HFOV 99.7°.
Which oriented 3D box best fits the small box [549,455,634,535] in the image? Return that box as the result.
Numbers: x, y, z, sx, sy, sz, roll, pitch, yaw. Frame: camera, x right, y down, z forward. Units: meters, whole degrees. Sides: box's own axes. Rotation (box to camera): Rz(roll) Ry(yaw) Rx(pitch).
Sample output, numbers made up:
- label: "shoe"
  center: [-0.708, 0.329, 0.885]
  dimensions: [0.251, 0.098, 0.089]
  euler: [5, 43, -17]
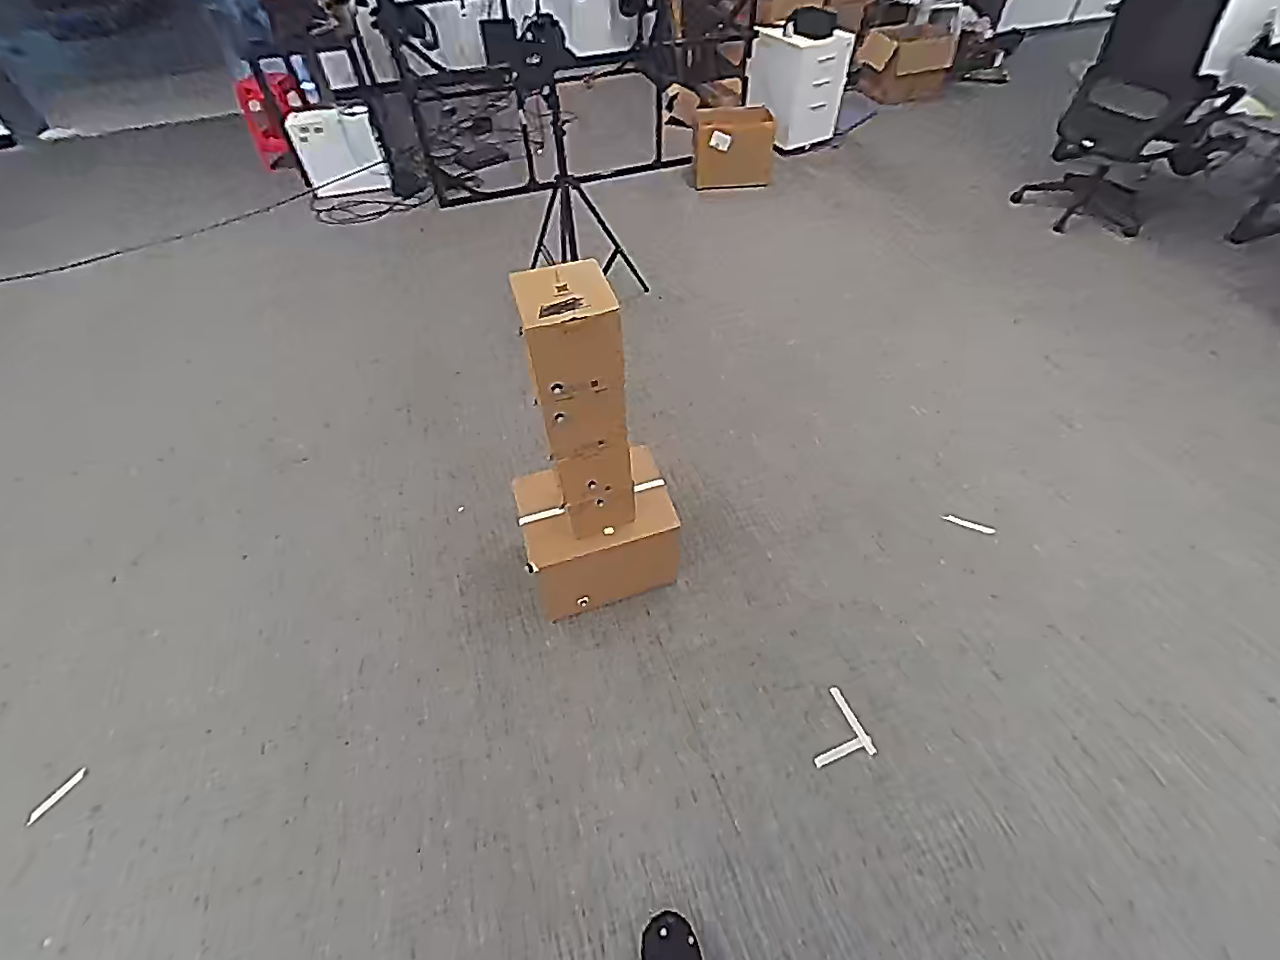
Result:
- label: "small box"
  center: [-0.120, 0.018, 1.397]
  dimensions: [0.179, 0.176, 0.168]
  euler: [-17, 54, -12]

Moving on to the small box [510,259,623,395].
- label: "small box"
  center: [-0.132, -0.276, 1.005]
  dimensions: [0.168, 0.176, 0.179]
  euler: [-15, 53, -10]

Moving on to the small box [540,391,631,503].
- label: "small box"
  center: [-0.126, -0.076, 1.264]
  dimensions: [0.168, 0.176, 0.179]
  euler: [-17, 54, -11]
